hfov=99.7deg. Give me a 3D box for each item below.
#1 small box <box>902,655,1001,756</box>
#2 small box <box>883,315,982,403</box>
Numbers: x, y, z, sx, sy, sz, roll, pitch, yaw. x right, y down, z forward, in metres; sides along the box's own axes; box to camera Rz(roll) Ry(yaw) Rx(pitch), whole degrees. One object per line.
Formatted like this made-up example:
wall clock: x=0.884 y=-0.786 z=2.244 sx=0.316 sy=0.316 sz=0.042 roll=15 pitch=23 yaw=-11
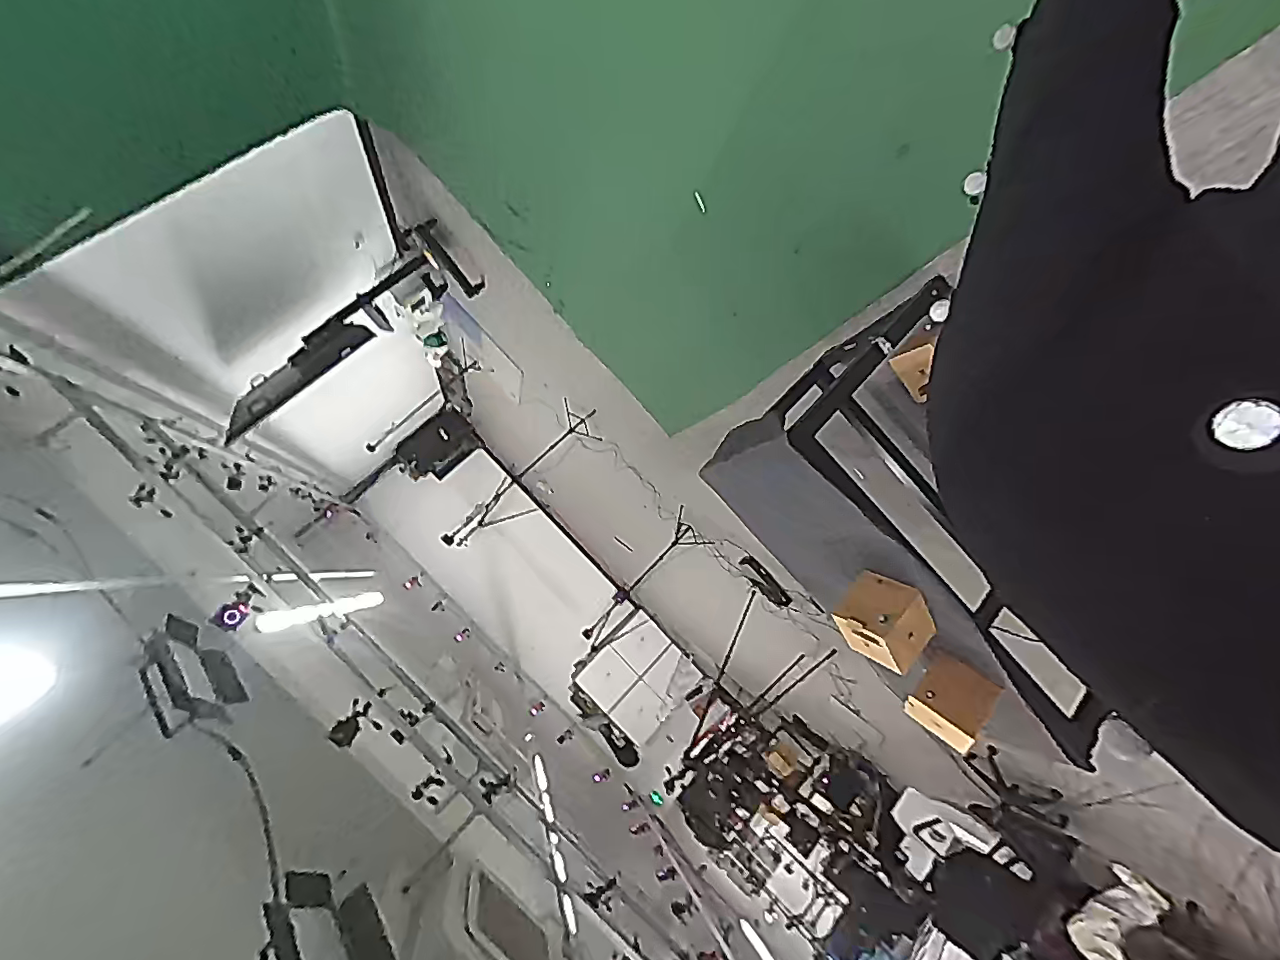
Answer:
small box: x=0.862 y=0.623 z=1.503 sx=0.179 sy=0.176 sz=0.168 roll=33 pitch=158 yaw=36
small box: x=0.895 y=-0.365 z=1.649 sx=0.179 sy=0.176 sz=0.168 roll=49 pitch=162 yaw=-9
